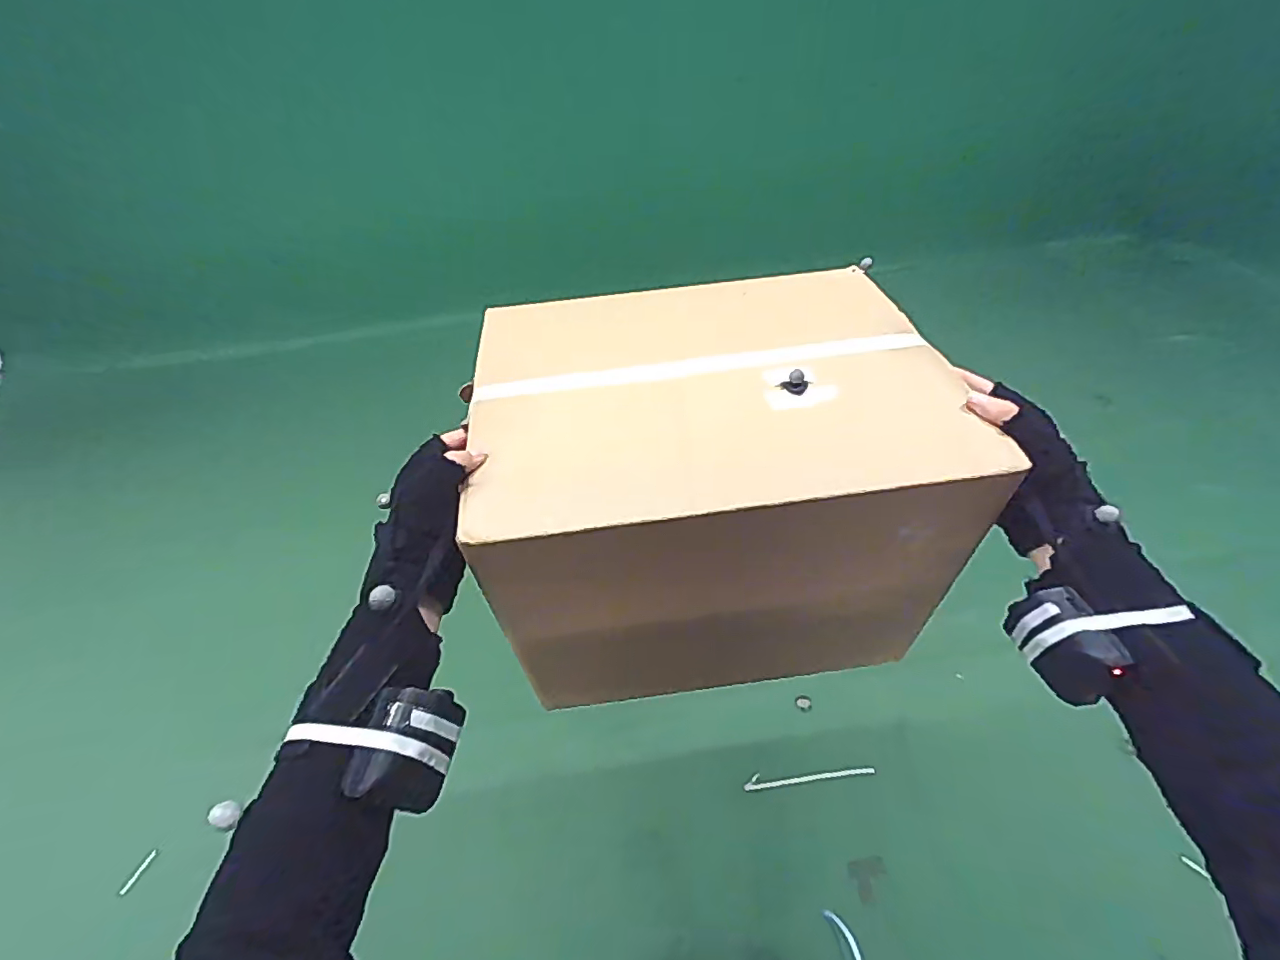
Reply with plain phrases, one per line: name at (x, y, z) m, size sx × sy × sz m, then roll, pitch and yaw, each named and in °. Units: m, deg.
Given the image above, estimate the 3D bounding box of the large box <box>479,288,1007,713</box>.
large box at (0.066, 0.021, 0.597) m, size 0.408 × 0.320 × 0.320 m, roll -7°, pitch 47°, yaw -3°
